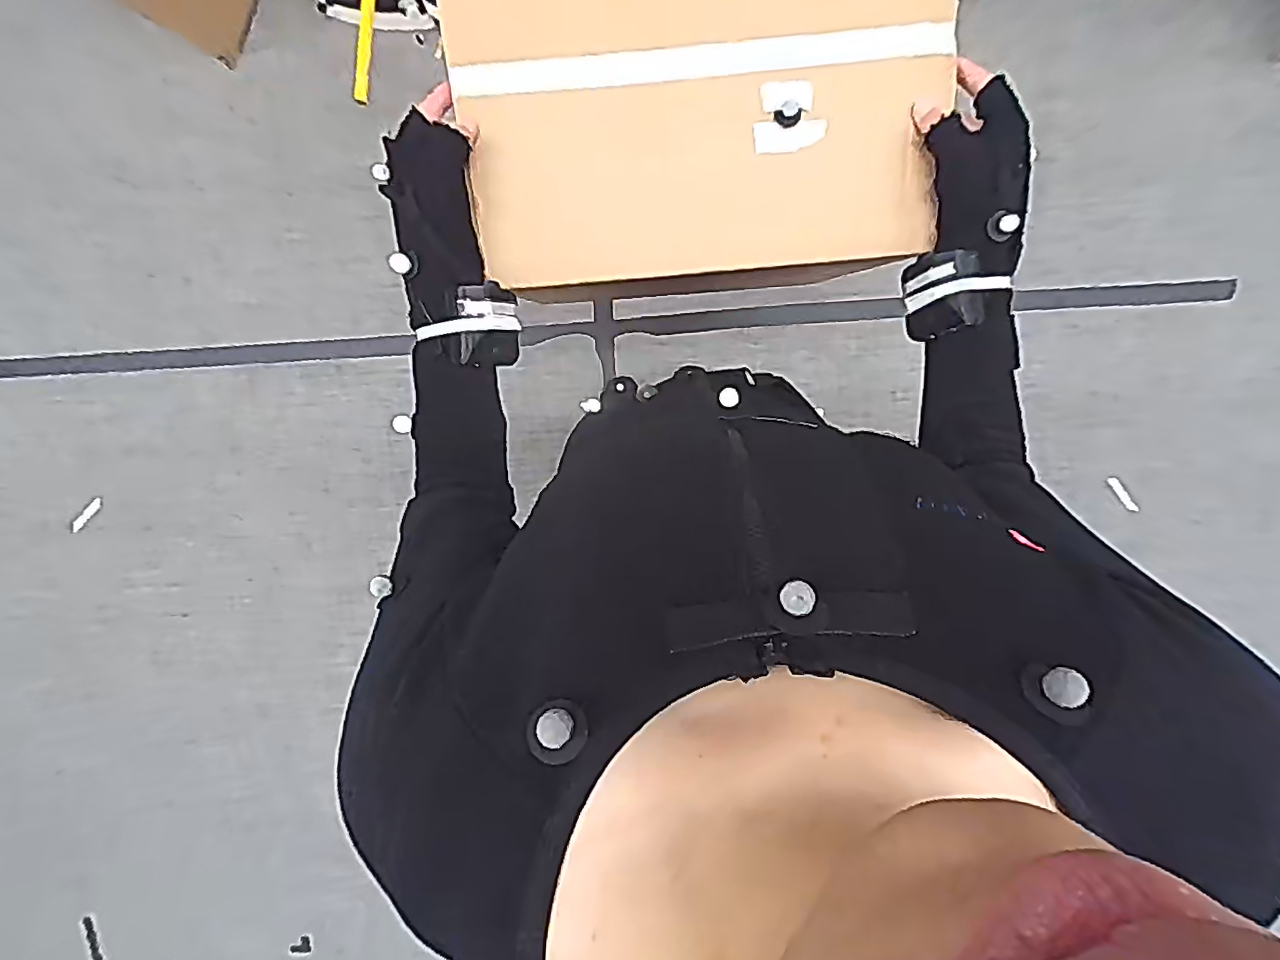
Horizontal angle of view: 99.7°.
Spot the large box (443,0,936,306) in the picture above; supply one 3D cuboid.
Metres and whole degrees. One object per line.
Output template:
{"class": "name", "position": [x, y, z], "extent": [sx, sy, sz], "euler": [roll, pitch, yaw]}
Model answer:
{"class": "large box", "position": [0.040, -0.378, 0.592], "extent": [0.408, 0.320, 0.320], "euler": [-5, 105, 0]}
